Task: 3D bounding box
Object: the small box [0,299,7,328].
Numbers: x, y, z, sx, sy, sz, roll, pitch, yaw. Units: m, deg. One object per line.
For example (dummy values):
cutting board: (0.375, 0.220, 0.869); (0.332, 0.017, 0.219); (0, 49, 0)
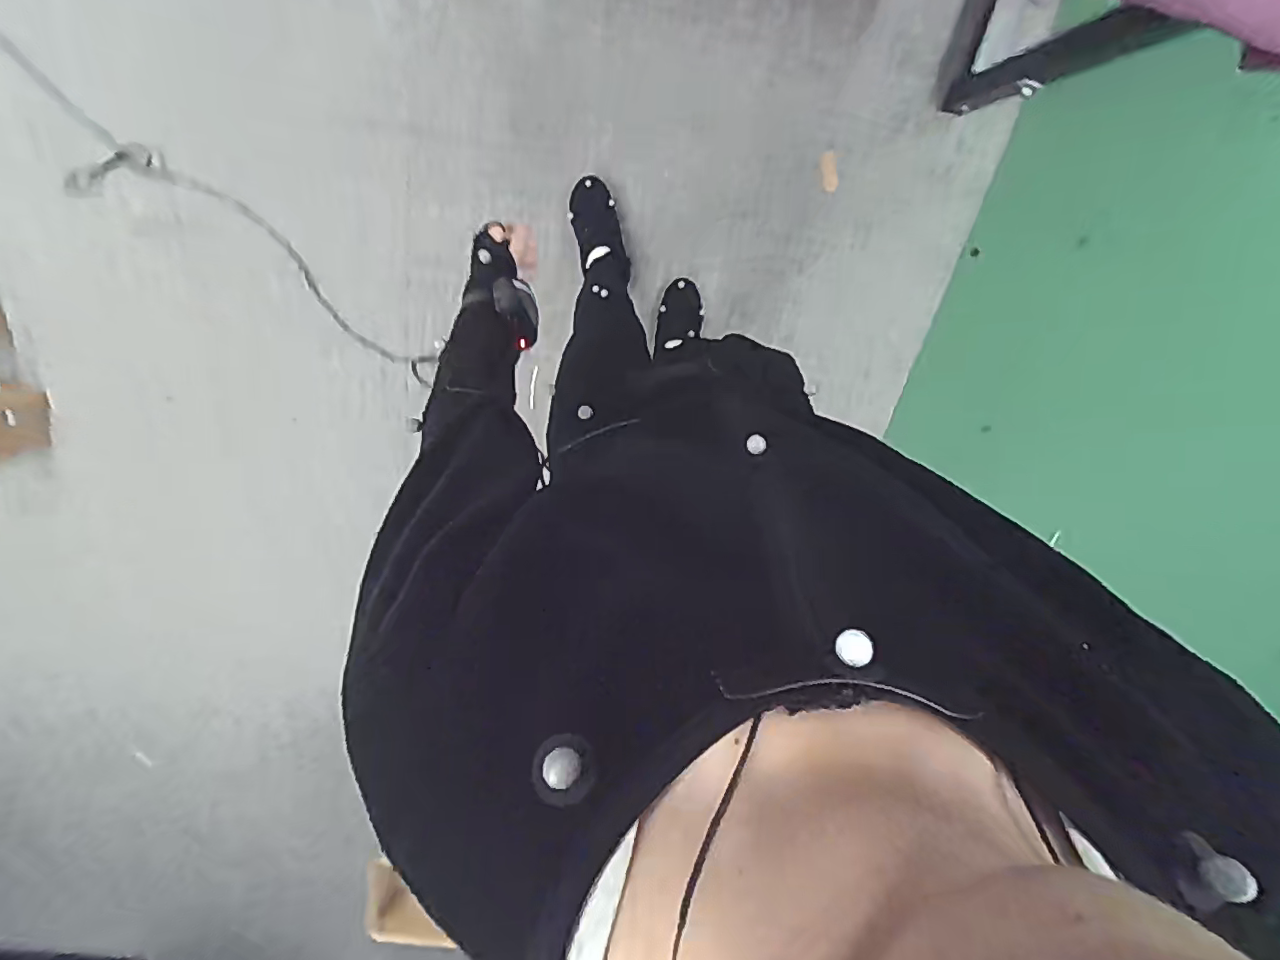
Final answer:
small box: (-1.672, -0.435, 1.271); (0.179, 0.176, 0.168); (4, 115, -2)
